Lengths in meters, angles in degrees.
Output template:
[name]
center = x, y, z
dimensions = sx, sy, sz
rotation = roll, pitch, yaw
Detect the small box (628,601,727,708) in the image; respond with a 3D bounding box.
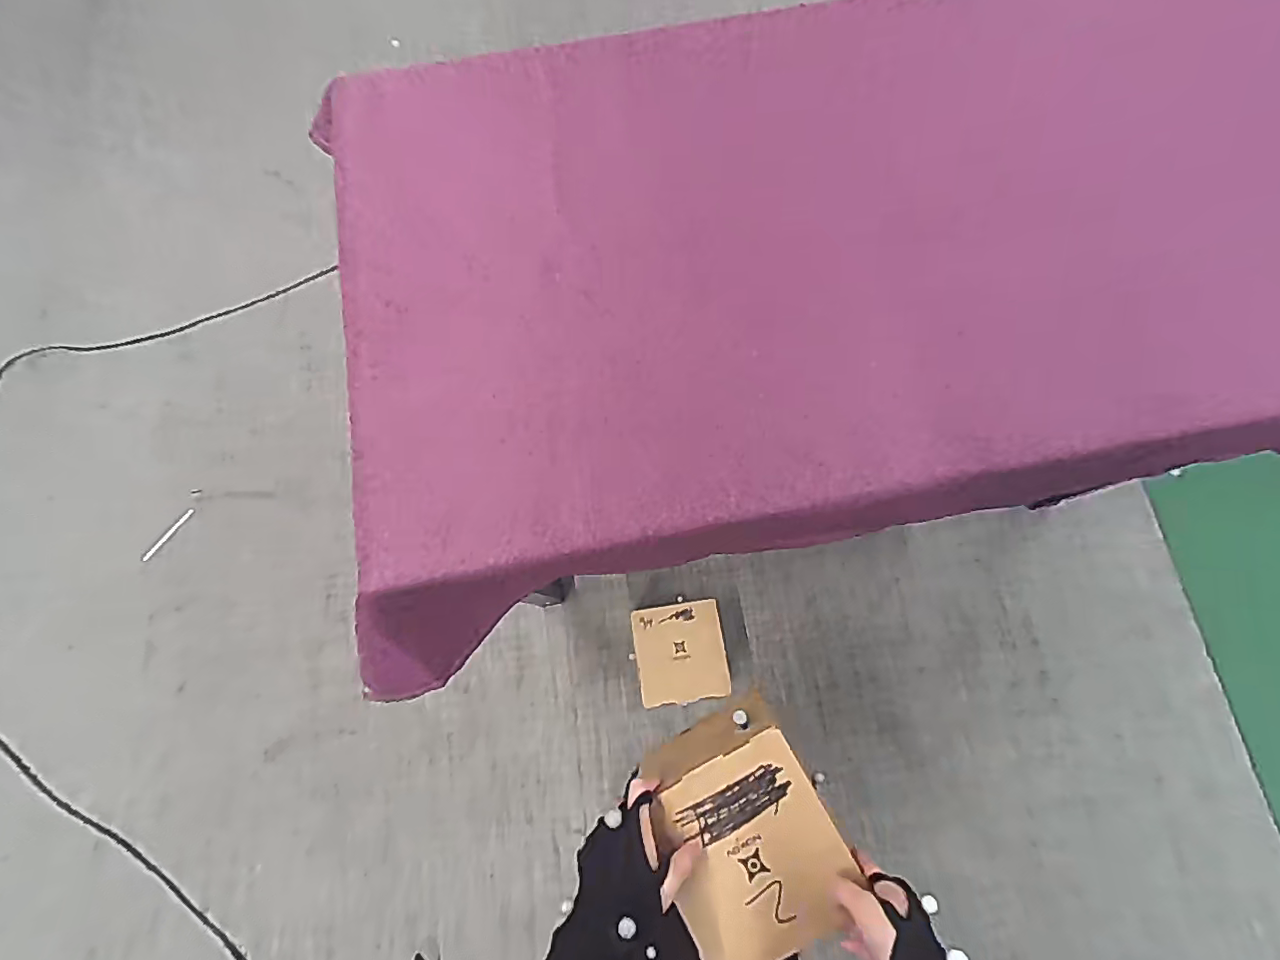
[small box]
center = 0.072, 0.340, 1.080
dimensions = 0.168, 0.176, 0.179
rotation = -8, 76, 0
